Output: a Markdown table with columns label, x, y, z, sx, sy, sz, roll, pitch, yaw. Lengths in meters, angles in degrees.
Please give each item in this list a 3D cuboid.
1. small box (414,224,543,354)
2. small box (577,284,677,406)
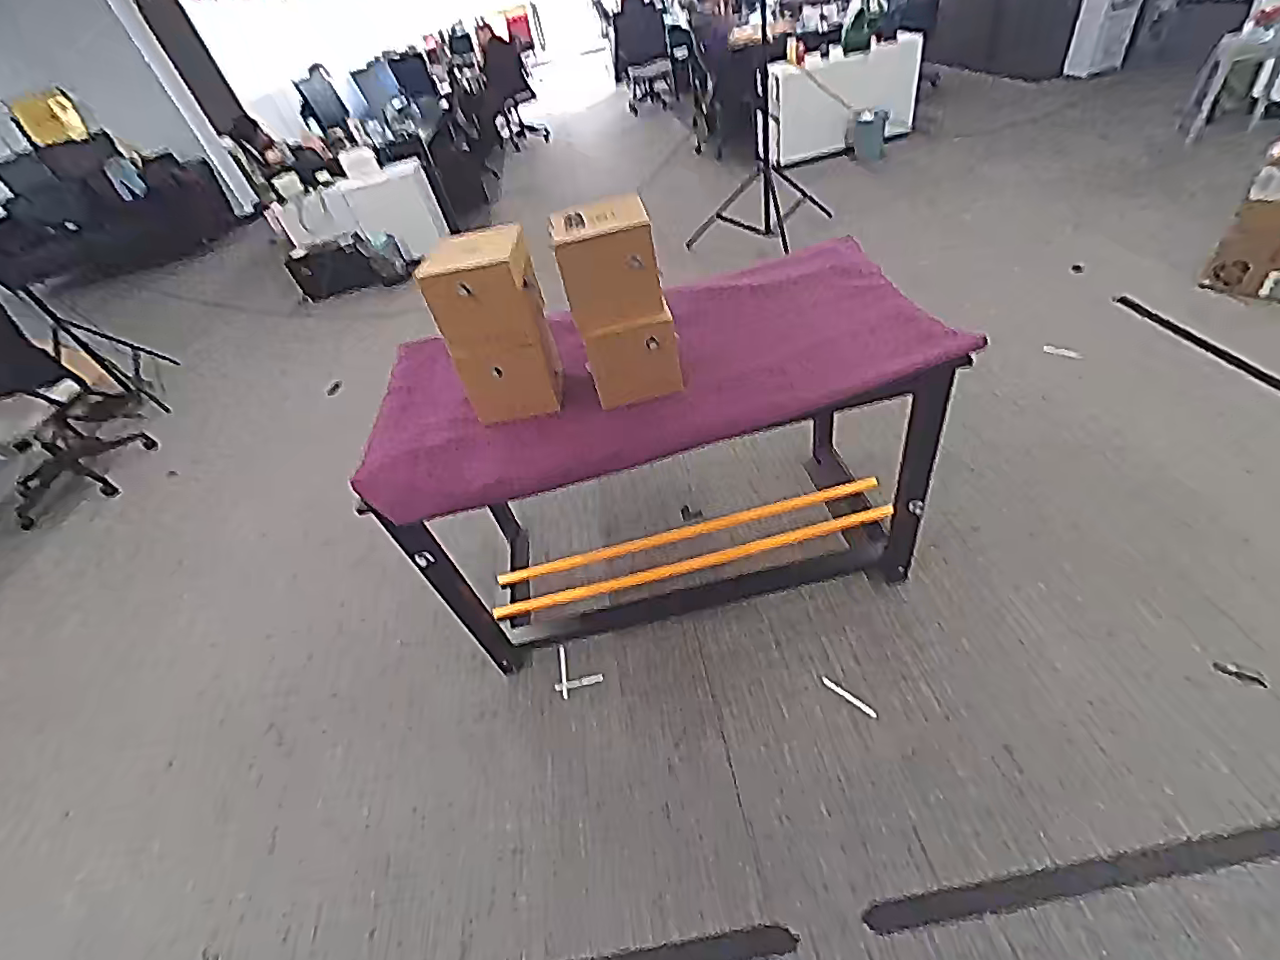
| label | x | y | z | sx | sy | sz | roll | pitch | yaw |
| --- | --- | --- | --- | --- | --- | --- | --- | --- | --- |
| small box | -0.299 | -0.366 | 1.048 | 0.179 | 0.176 | 0.168 | -8 | 44 | 7 |
| small box | -0.023 | -0.278 | 1.122 | 0.179 | 0.176 | 0.168 | -13 | 42 | 2 |
